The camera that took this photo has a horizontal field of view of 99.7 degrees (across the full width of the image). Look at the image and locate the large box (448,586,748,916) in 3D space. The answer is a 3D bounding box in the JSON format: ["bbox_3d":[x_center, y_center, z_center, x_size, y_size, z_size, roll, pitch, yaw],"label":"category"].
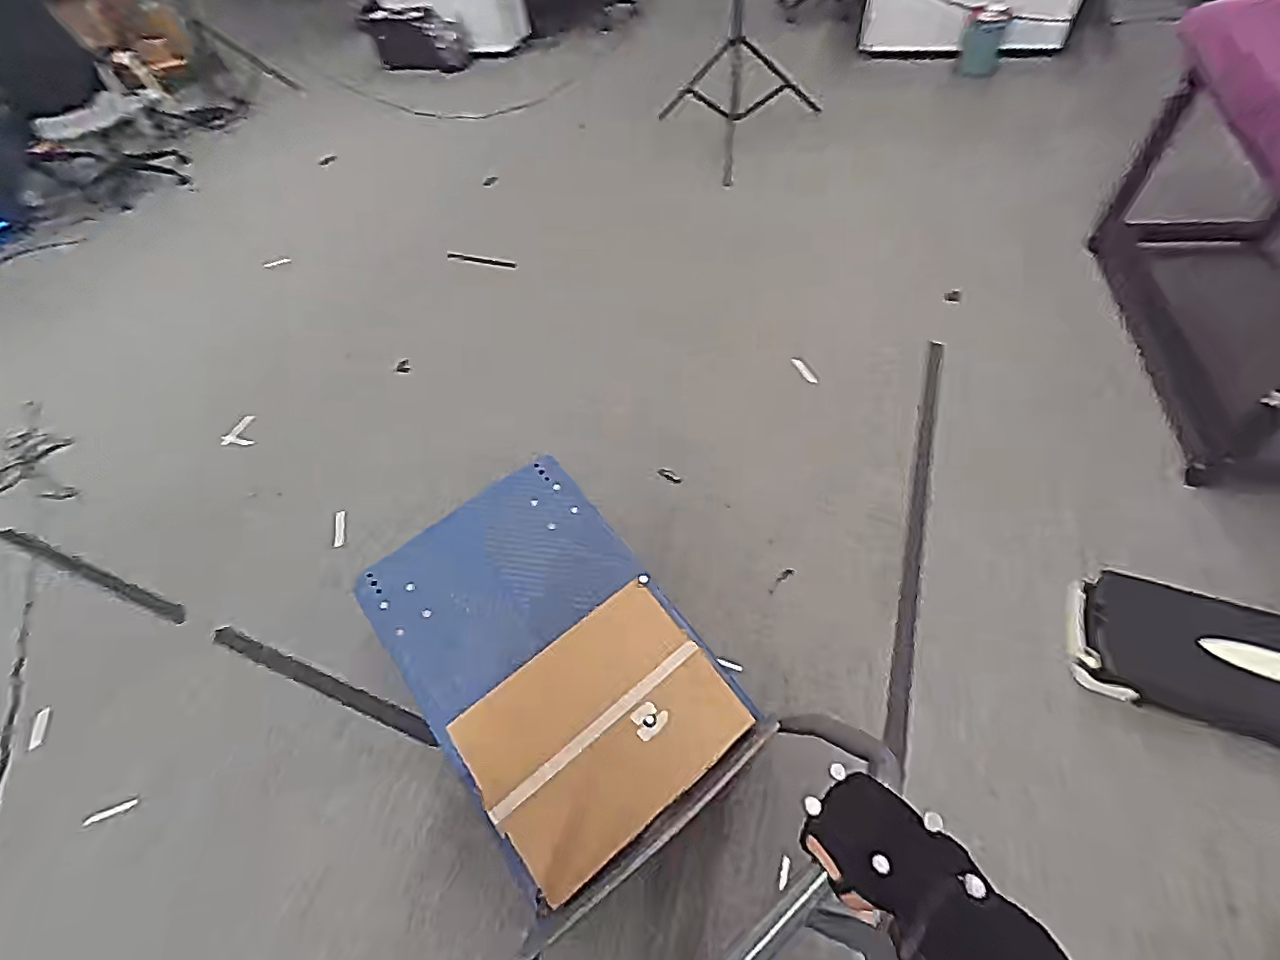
[{"bbox_3d":[-0.068,0.476,1.008,0.408,0.320,0.320,-36,69,-17],"label":"large box"}]
